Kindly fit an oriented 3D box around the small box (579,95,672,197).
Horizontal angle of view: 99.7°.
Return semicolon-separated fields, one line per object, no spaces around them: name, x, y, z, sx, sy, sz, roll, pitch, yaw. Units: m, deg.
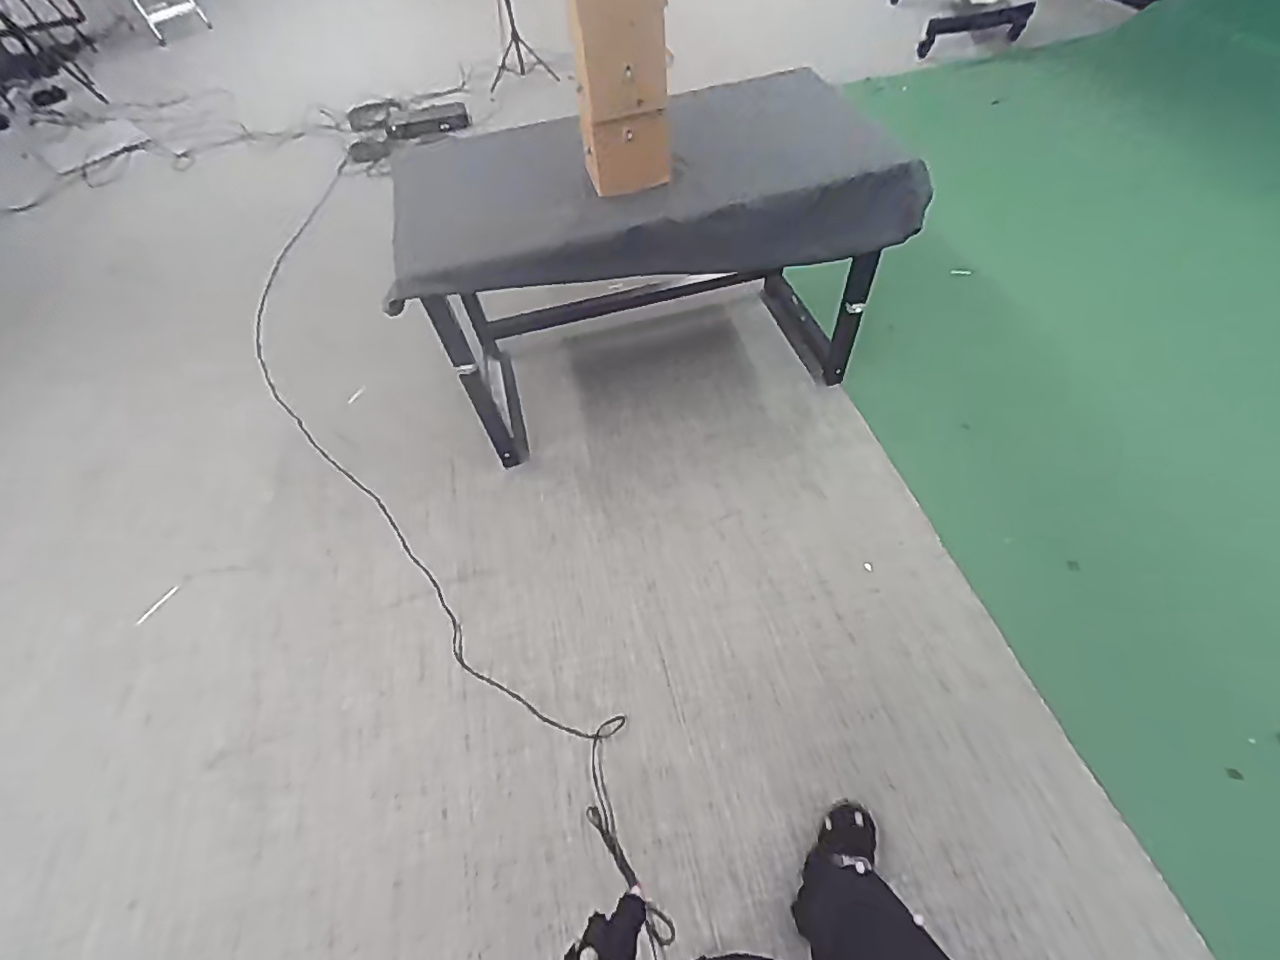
small box;-0.030;-0.781;1.248;0.179;0.176;0.168;-15;56;-6

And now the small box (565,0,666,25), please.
small box;-0.049;-0.959;0.972;0.179;0.176;0.168;-16;56;-7

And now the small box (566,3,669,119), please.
small box;-0.042;-0.868;1.110;0.168;0.176;0.179;-16;57;-5
